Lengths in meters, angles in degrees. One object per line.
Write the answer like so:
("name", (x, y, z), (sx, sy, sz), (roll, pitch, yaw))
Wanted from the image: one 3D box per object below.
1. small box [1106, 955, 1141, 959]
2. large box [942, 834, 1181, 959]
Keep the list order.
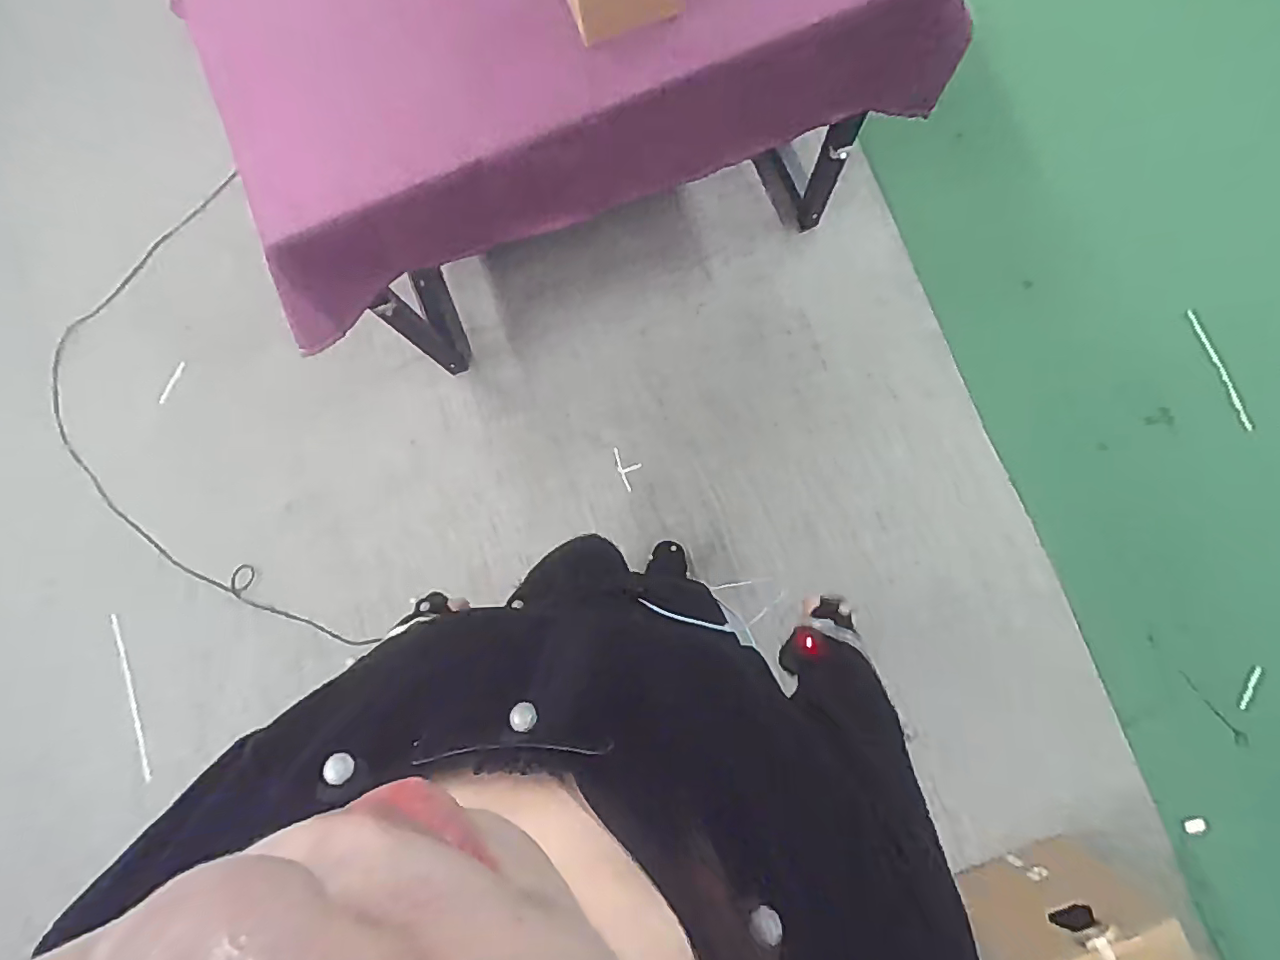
("small box", (0.910, 1.007, 0.968), (0.168, 0.176, 0.179), (-17, 84, 1))
("large box", (0.964, 1.112, 1.200), (0.320, 0.320, 0.408), (-20, 84, 0))
